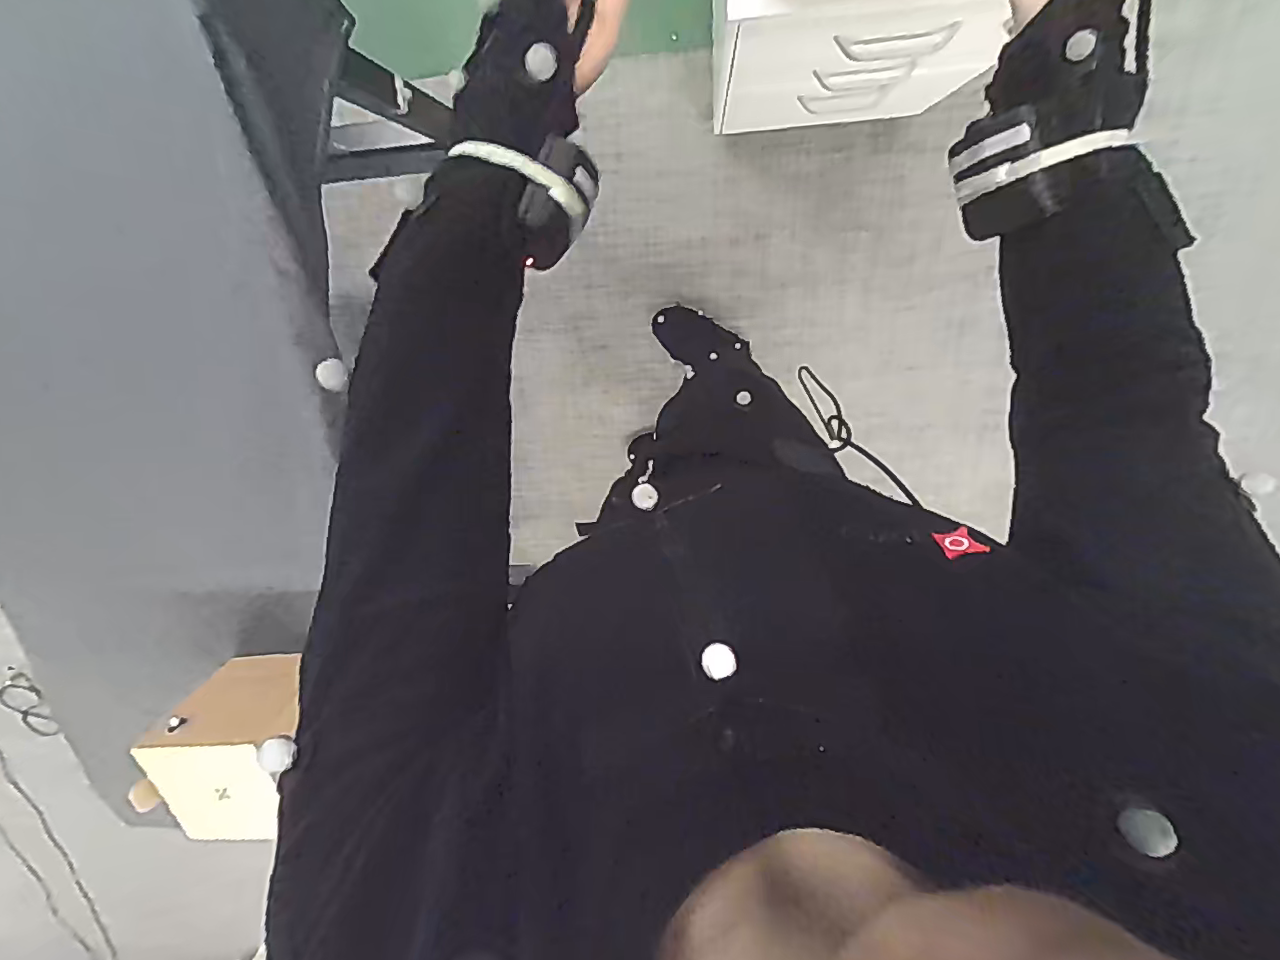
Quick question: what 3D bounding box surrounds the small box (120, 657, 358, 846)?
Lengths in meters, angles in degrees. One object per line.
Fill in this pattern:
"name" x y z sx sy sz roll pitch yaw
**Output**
"small box" -0.518 0.360 0.735 0.179 0.176 0.168 -6 111 9
